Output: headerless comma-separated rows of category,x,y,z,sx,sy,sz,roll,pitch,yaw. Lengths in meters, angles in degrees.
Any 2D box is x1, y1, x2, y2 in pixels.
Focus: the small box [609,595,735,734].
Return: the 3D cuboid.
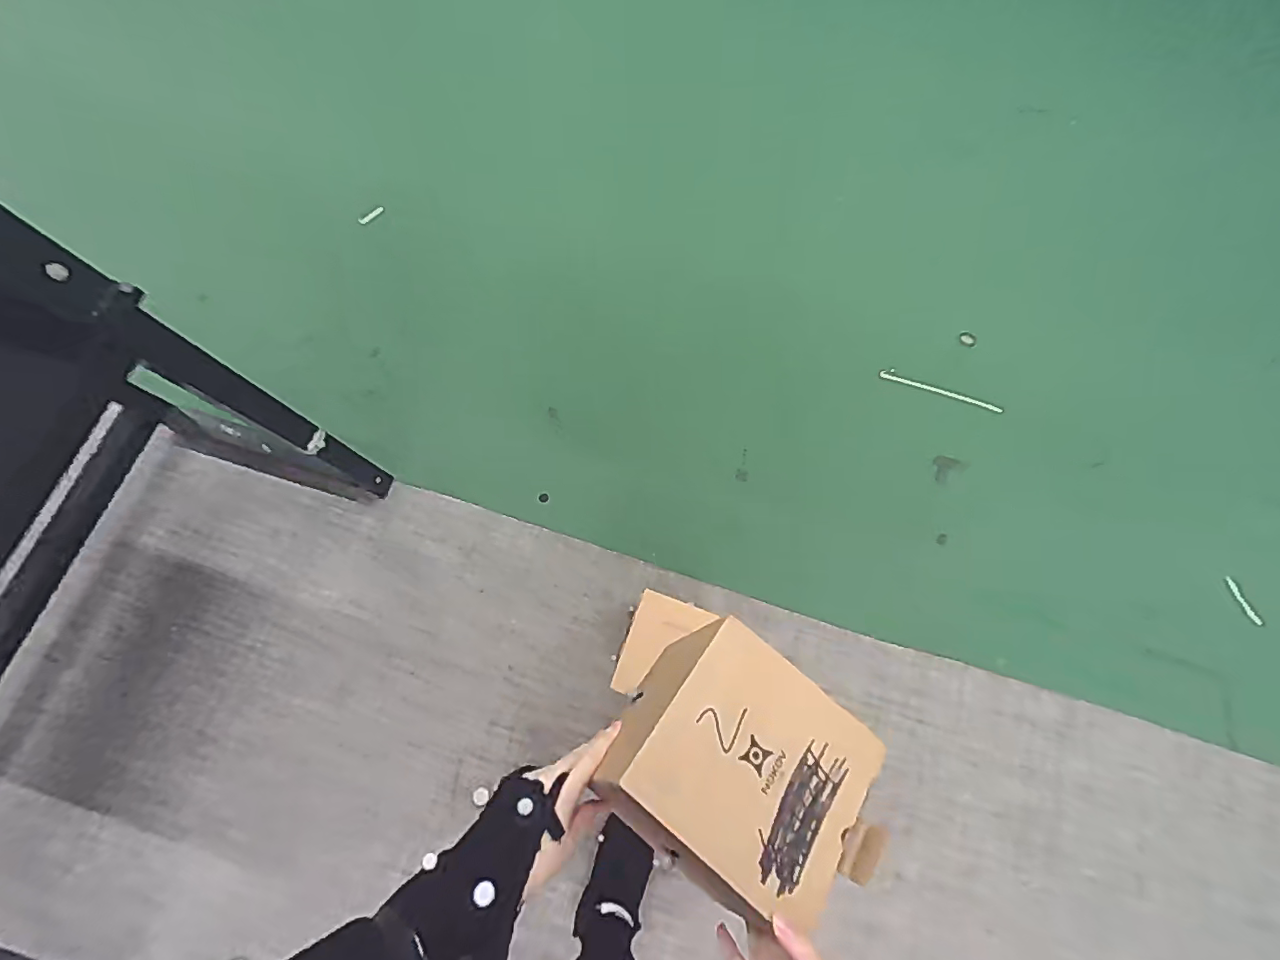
small box,0.054,0.319,0.955,0.168,0.176,0.179,19,74,4
